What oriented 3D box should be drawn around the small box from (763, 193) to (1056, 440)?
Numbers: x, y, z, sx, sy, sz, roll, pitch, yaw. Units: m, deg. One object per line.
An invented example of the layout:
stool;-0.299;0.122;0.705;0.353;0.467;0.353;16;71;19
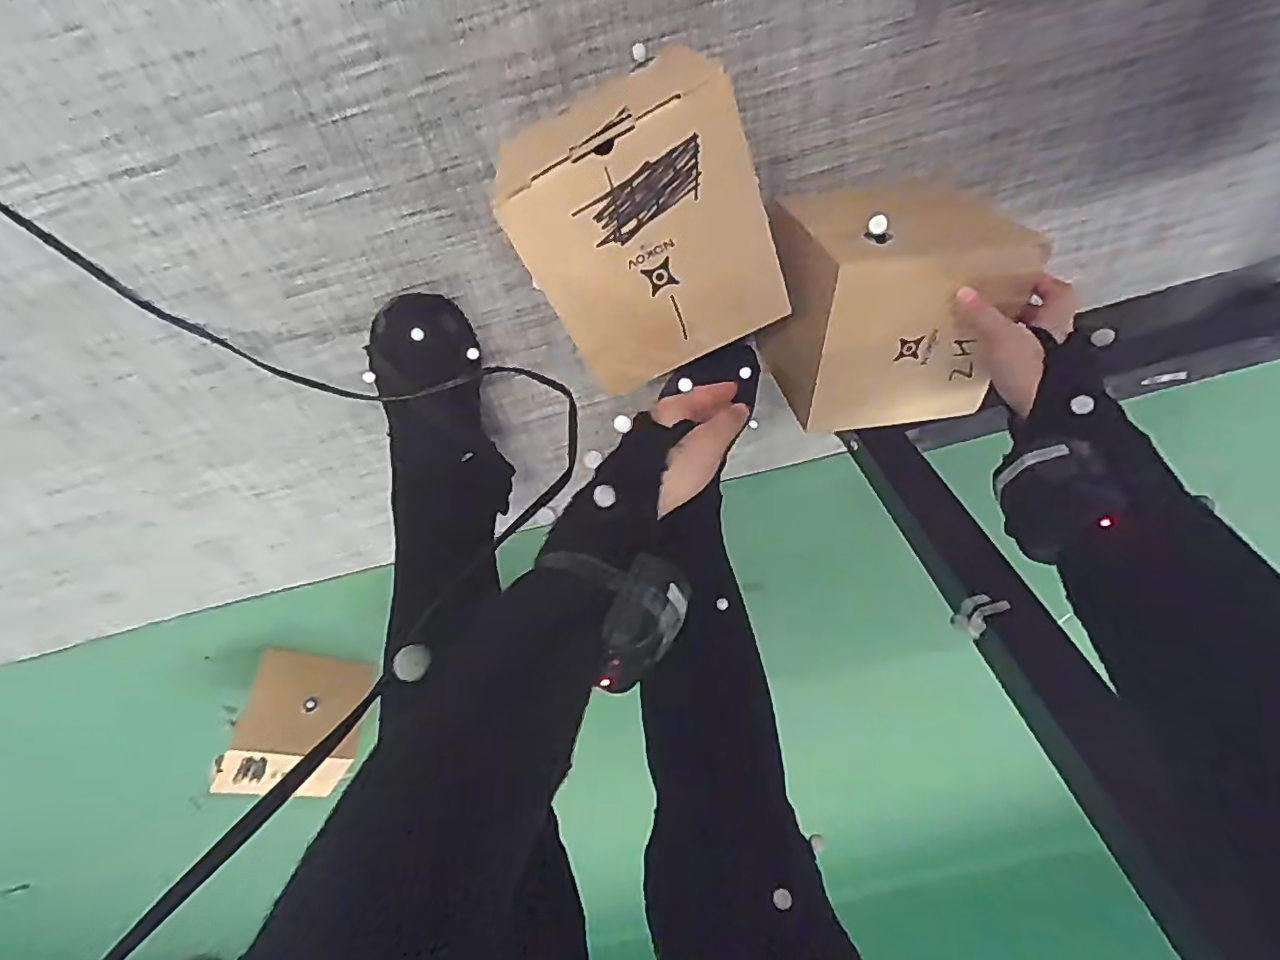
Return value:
small box;0.229;-0.161;0.522;0.179;0.176;0.168;-8;133;-3
